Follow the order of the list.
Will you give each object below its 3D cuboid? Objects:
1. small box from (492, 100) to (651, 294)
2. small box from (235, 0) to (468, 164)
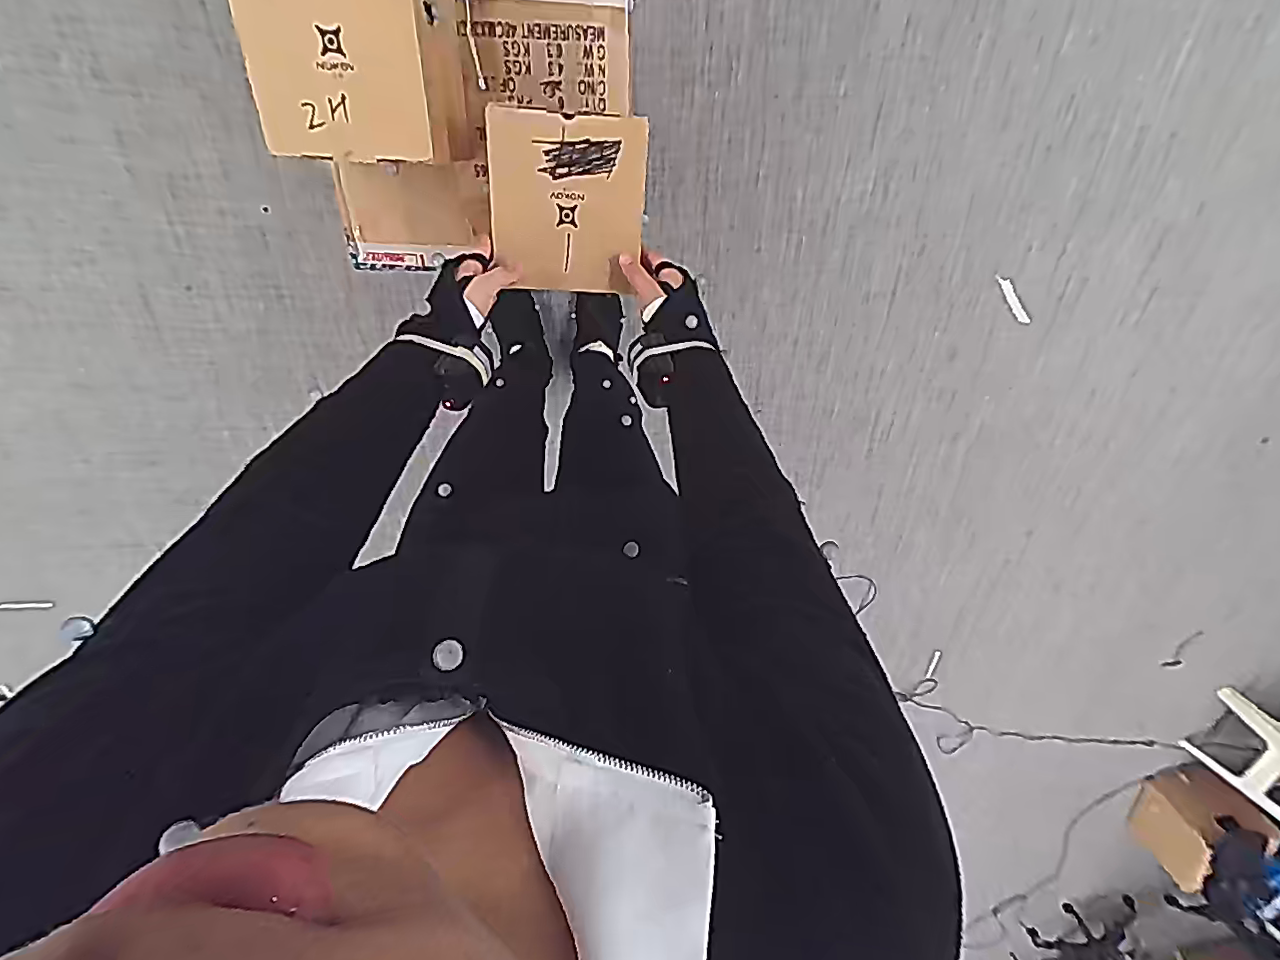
[{"bbox_3d":[-0.085,-0.331,0.655,0.168,0.176,0.179,1,115,-7],"label":"small box"},{"bbox_3d":[-0.291,-0.445,0.579,0.168,0.176,0.179,1,122,-4],"label":"small box"}]
